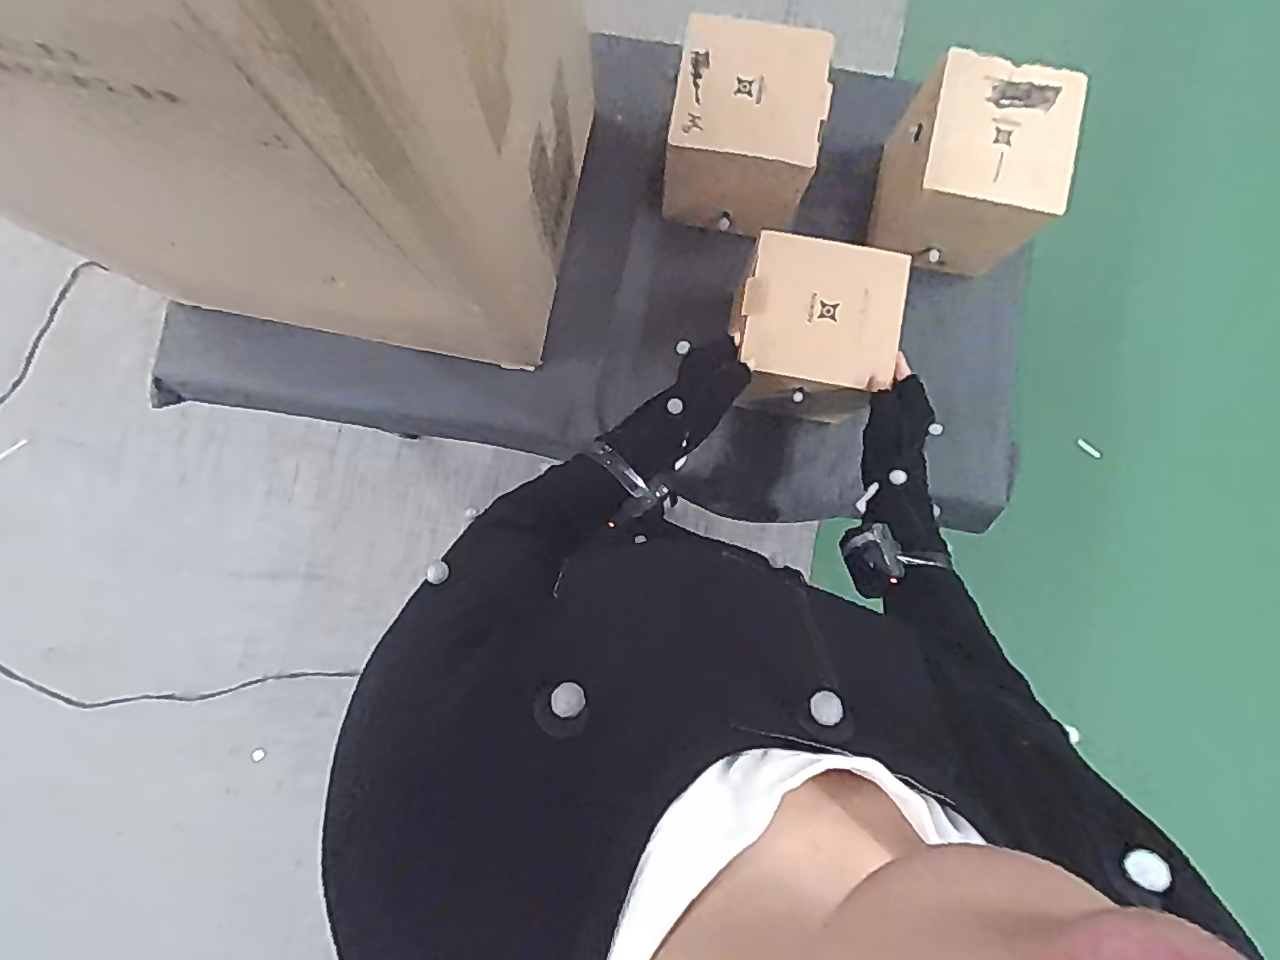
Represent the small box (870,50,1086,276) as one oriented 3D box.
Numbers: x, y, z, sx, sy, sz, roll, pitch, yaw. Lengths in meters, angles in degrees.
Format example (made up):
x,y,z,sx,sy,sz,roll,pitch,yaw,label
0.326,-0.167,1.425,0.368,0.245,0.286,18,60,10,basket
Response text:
x,y,z,sx,sy,sz,roll,pitch,yaw,label
0.425,-0.399,0.708,0.168,0.176,0.179,13,87,1,small box
